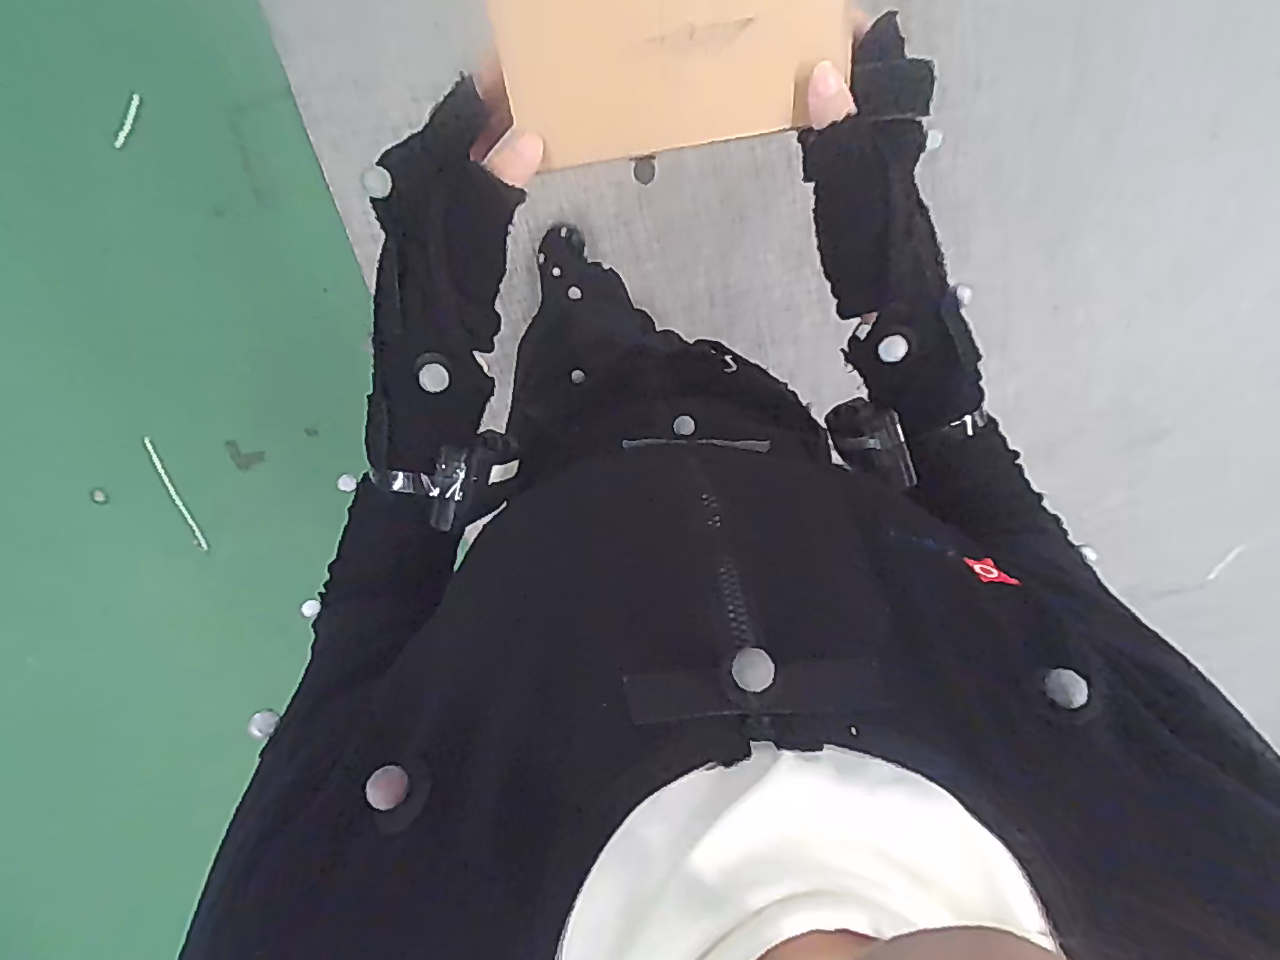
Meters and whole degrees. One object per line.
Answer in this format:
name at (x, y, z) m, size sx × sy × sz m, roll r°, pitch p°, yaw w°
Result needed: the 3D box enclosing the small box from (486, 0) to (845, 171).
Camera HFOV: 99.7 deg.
small box at (0.002, -0.282, 0.299) m, size 0.168 × 0.176 × 0.179 m, roll -9°, pitch 121°, yaw 1°
